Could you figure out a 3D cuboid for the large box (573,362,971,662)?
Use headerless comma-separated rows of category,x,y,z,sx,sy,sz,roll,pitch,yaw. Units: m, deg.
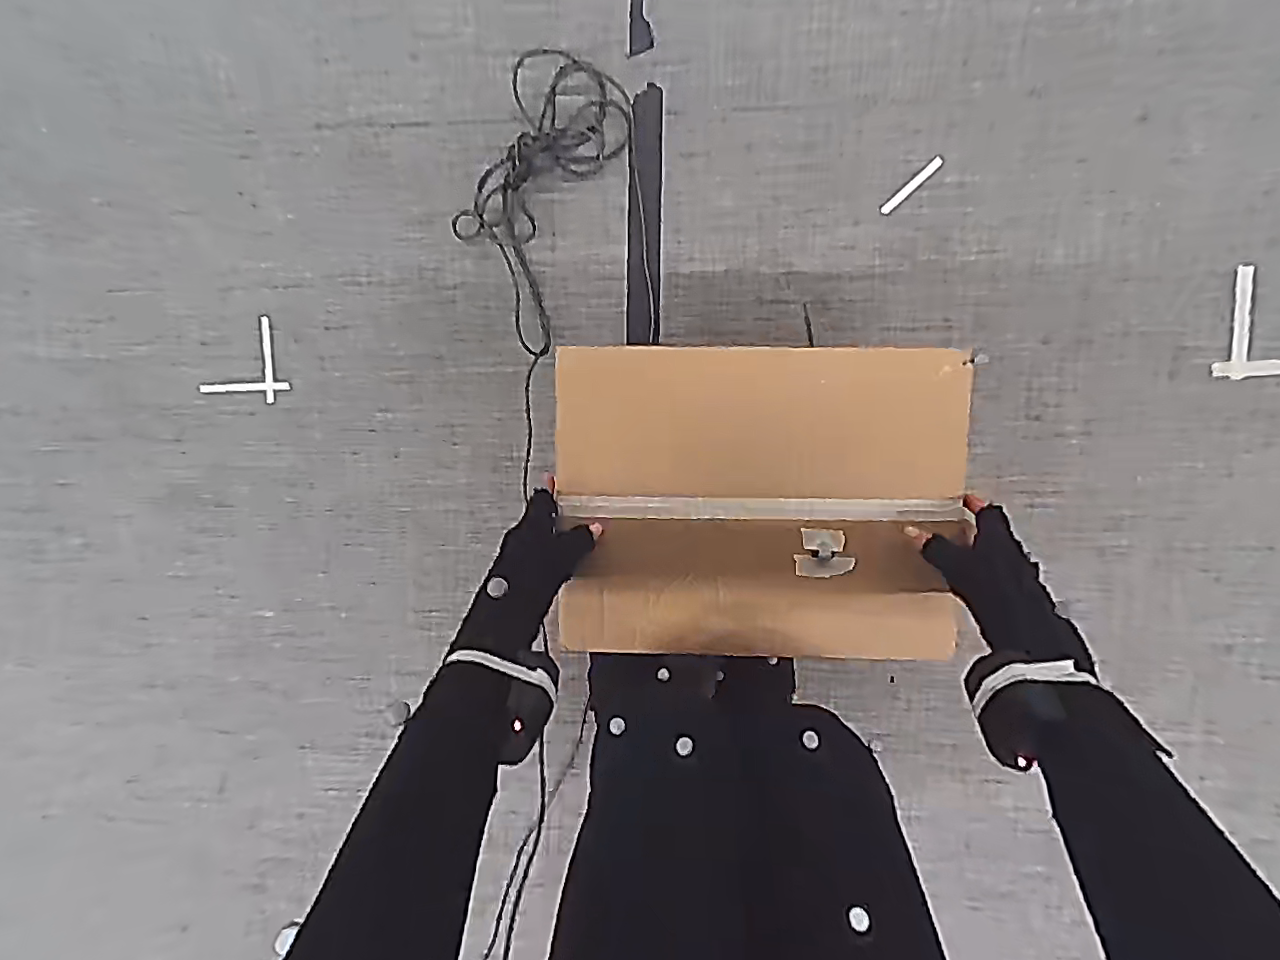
large box,0.134,0.024,0.703,0.408,0.320,0.320,1,96,2
